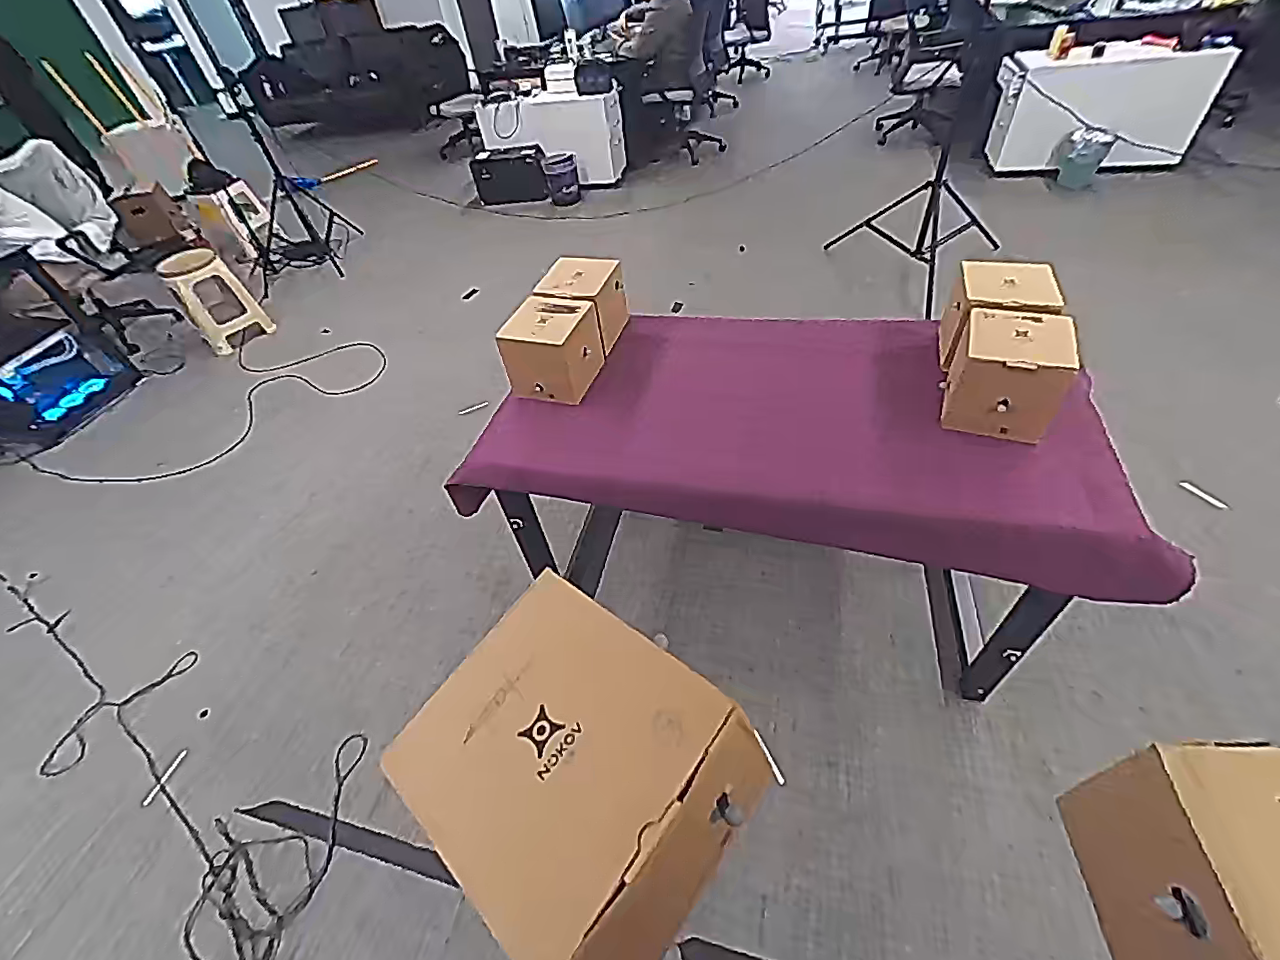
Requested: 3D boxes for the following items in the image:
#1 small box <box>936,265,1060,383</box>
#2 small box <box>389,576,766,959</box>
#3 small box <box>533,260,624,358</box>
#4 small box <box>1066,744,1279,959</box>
[{"bbox_3d":[0.741,-0.330,1.143,0.168,0.176,0.179,10,48,16],"label":"small box"},{"bbox_3d":[-0.029,0.206,0.387,0.179,0.176,0.168,25,64,36],"label":"small box"},{"bbox_3d":[-0.144,-0.433,1.364,0.168,0.176,0.179,10,50,17],"label":"small box"},{"bbox_3d":[0.386,0.265,0.302,0.168,0.176,0.179,-6,49,13],"label":"small box"}]
